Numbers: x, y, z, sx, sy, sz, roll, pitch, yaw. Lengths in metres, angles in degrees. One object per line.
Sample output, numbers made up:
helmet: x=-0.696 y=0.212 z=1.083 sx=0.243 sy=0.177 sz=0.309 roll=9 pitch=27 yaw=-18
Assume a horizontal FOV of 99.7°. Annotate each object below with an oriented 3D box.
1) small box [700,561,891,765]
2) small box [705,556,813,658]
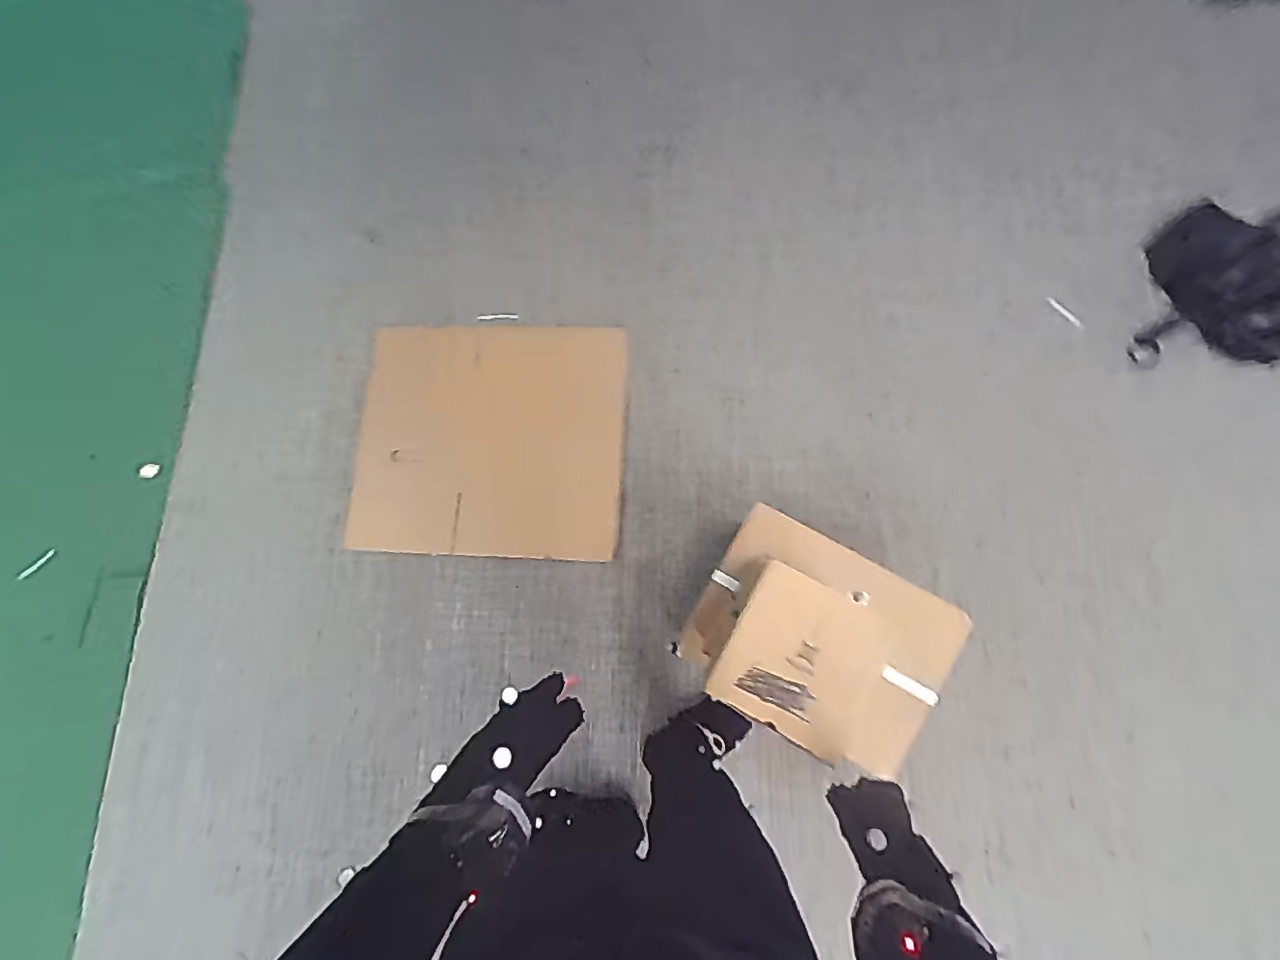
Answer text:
small box: x=0.191 y=0.222 z=0.700 sx=0.168 sy=0.176 sz=0.179 roll=25 pitch=84 yaw=12
small box: x=0.216 y=0.241 z=0.862 sx=0.168 sy=0.176 sz=0.179 roll=32 pitch=85 yaw=13
